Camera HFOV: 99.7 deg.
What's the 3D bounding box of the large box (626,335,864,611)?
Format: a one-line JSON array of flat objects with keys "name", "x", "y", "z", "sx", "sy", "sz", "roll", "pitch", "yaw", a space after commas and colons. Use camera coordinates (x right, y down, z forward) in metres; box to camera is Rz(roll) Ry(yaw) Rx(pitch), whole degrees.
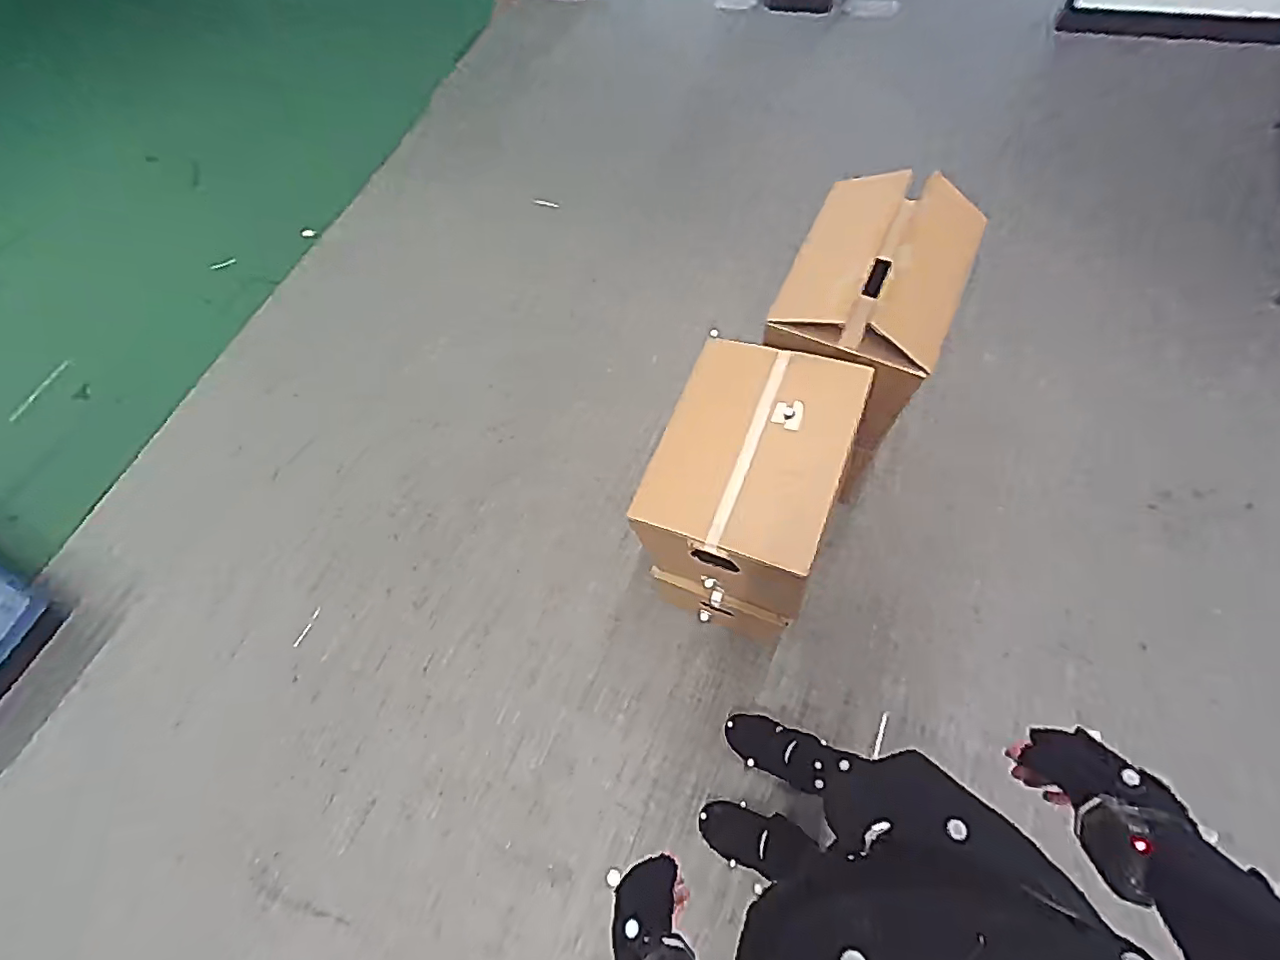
[{"name": "large box", "x": 0.215, "y": -0.008, "z": 1.059, "sx": 0.320, "sy": 0.320, "sz": 0.408, "roll": 17, "pitch": 69, "yaw": 20}]
